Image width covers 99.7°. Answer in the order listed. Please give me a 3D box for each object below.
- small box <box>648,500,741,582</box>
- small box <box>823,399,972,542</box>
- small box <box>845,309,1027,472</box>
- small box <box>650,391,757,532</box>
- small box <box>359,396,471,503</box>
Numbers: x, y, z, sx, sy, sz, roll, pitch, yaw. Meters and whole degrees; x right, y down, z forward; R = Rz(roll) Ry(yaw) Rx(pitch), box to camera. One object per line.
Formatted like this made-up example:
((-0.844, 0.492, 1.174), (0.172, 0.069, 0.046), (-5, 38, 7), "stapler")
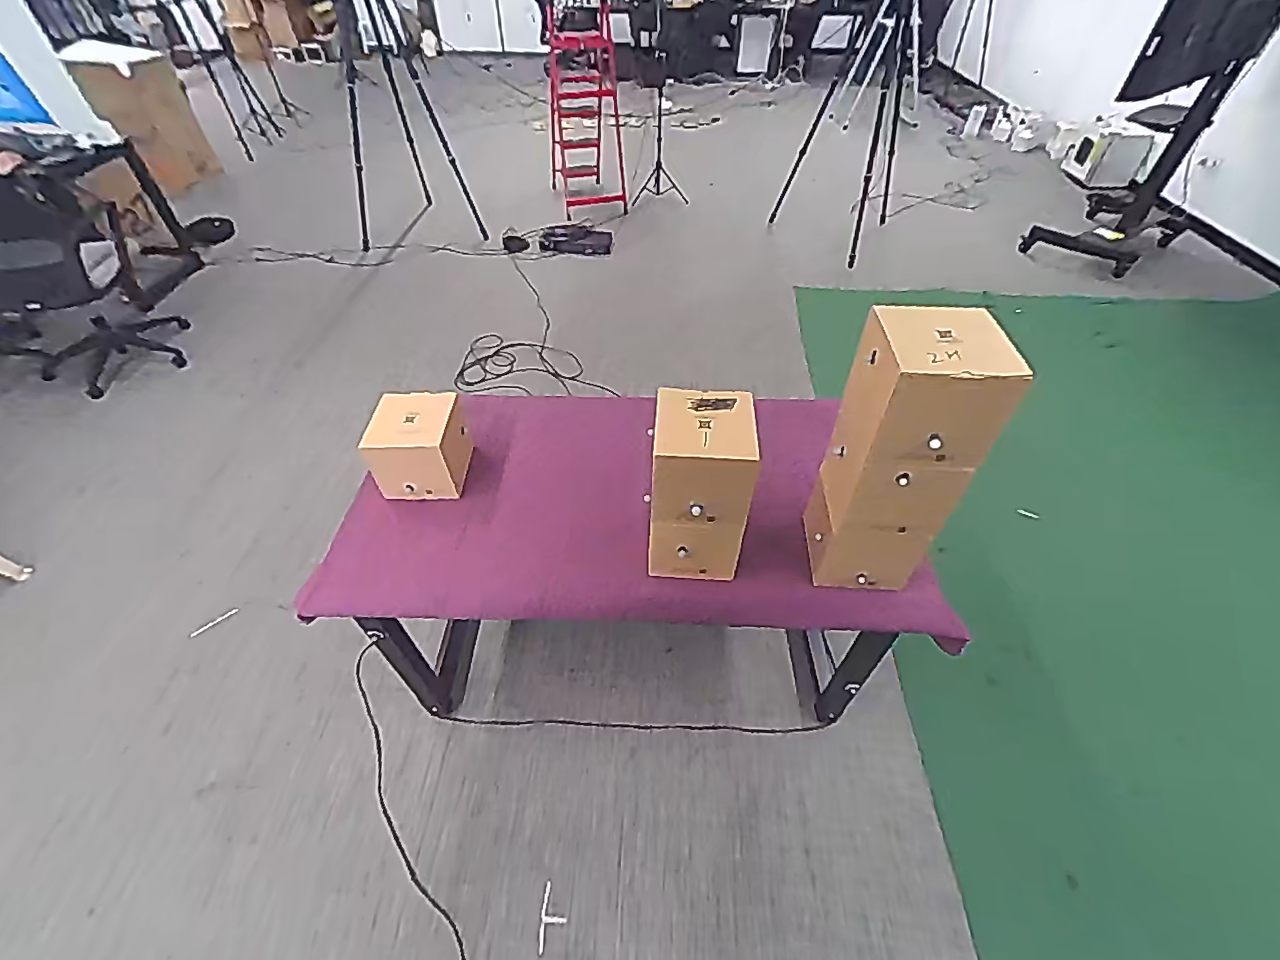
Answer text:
((0.103, 0.083, 1.058), (0.168, 0.176, 0.179), (3, 45, 3), "small box")
((0.421, -0.017, 0.922), (0.168, 0.176, 0.179), (3, 46, 5), "small box")
((0.419, -0.134, 0.806), (0.168, 0.176, 0.179), (2, 47, 4), "small box")
((0.105, -0.033, 0.942), (0.168, 0.176, 0.179), (3, 46, 3), "small box")
((-0.485, -0.068, 1.198), (0.168, 0.176, 0.179), (-1, 48, 0), "small box")
